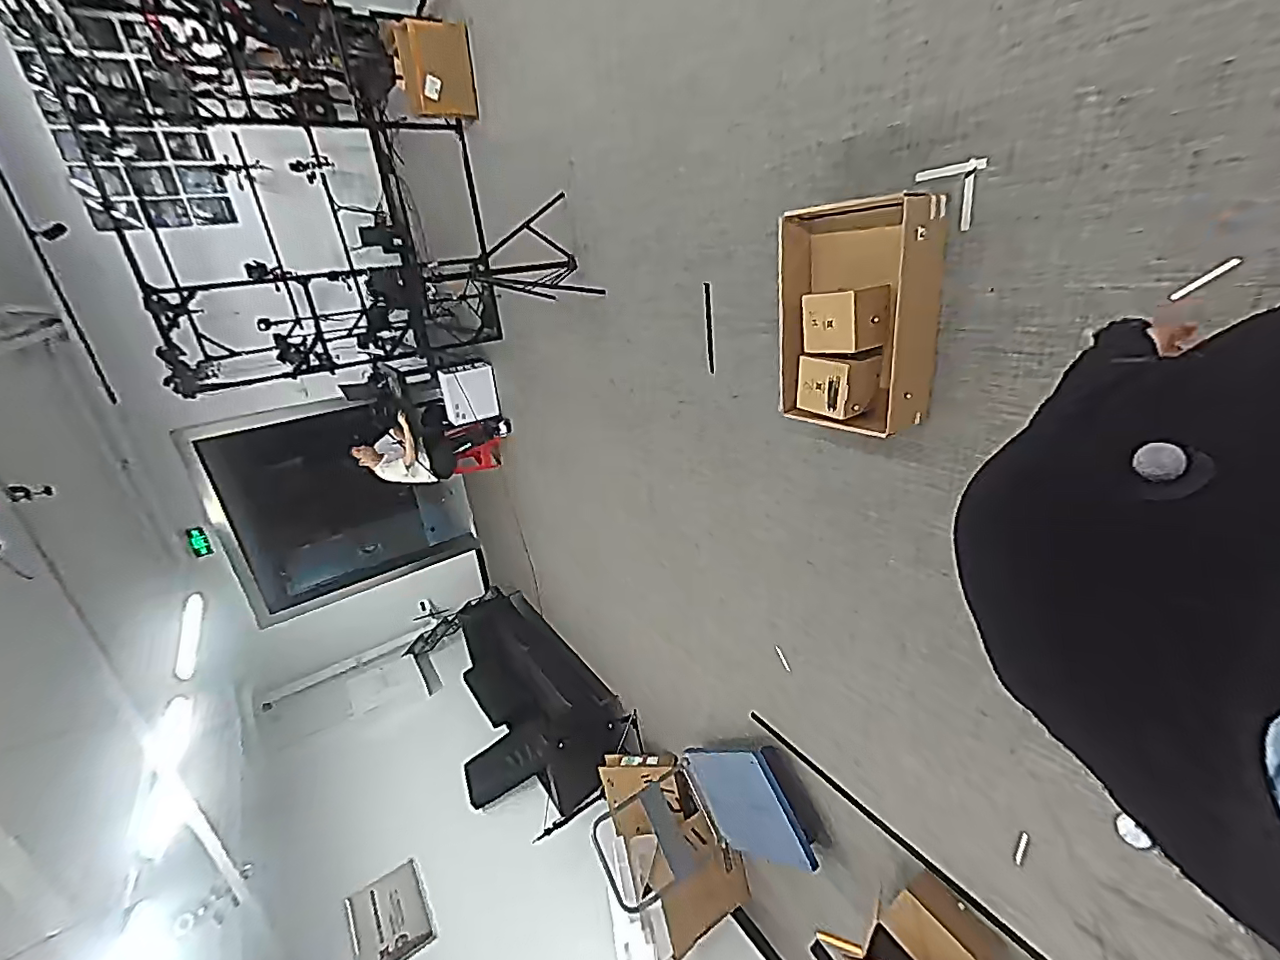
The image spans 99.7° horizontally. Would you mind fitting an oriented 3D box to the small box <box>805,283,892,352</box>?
[{"bbox_3d":[0.600,-0.466,1.555,0.179,0.176,0.168,20,123,54],"label":"small box"}]
